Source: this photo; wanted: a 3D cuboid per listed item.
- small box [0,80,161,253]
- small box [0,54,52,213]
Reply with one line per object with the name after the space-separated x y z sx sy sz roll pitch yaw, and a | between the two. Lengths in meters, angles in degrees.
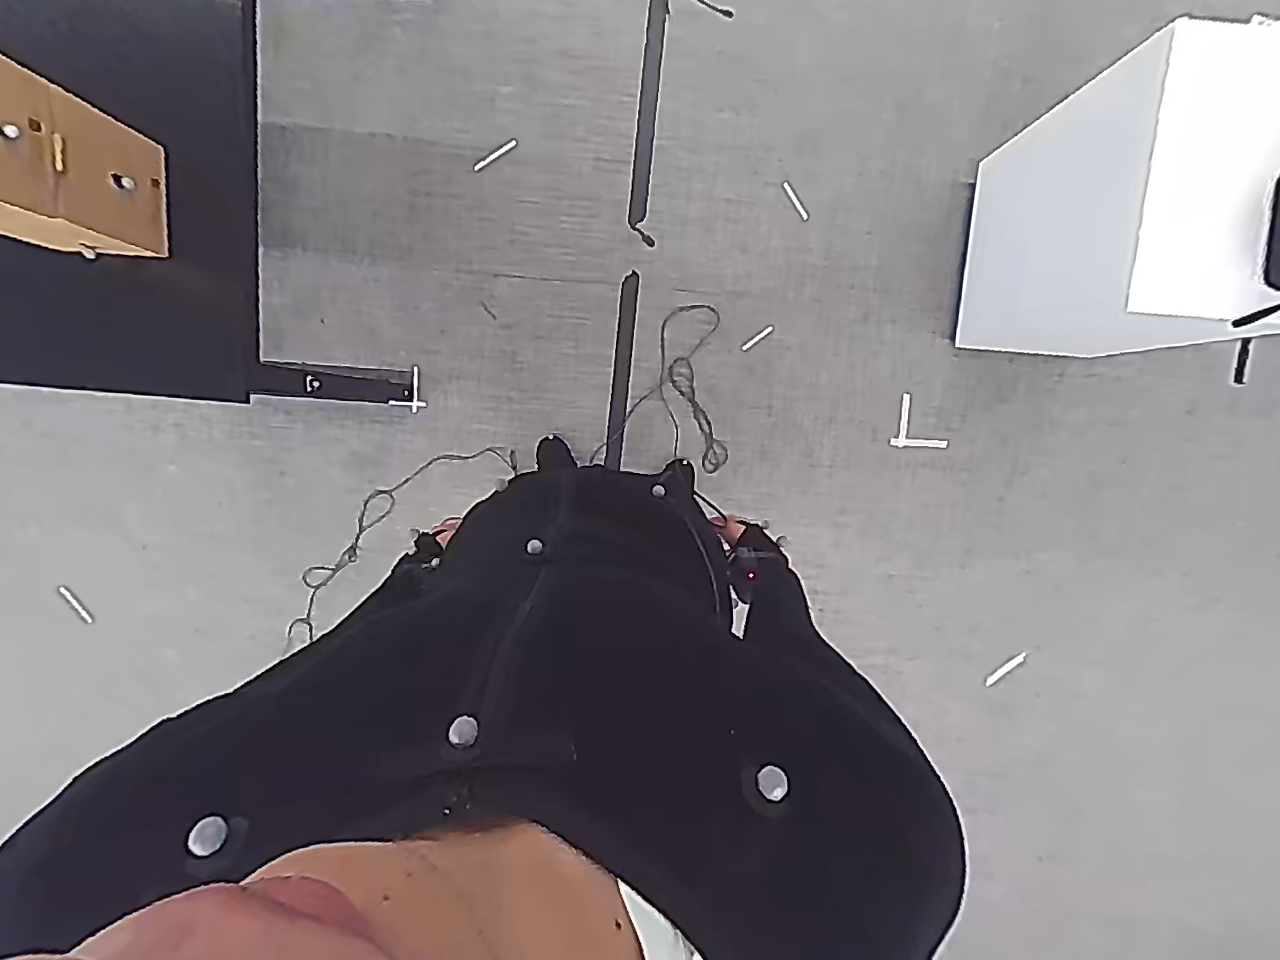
-0.815 -0.426 0.750 0.179 0.176 0.168 3 97 -1 | small box
-0.815 -0.407 0.586 0.179 0.176 0.168 4 97 -1 | small box
